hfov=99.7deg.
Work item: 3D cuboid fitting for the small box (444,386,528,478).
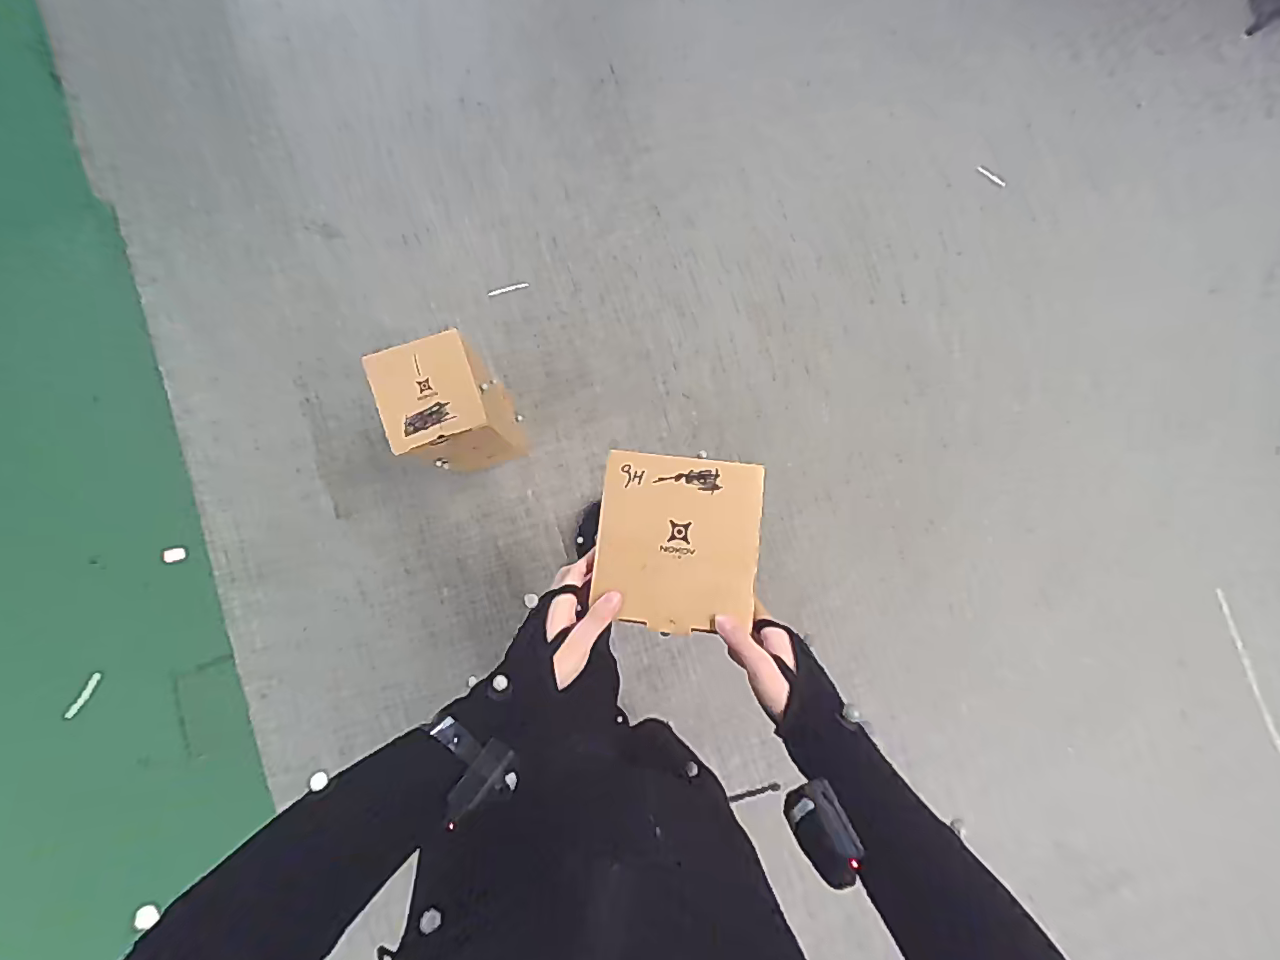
[{"bbox_3d":[-0.387,-0.110,1.320,0.179,0.176,0.168,-17,86,-6],"label":"small box"}]

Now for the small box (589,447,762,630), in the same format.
[{"bbox_3d":[0.042,0.072,0.641,0.168,0.176,0.179,6,80,3],"label":"small box"}]

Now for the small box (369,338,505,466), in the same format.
[{"bbox_3d":[-0.360,-0.131,0.993,0.168,0.176,0.179,-19,85,-6],"label":"small box"}]
